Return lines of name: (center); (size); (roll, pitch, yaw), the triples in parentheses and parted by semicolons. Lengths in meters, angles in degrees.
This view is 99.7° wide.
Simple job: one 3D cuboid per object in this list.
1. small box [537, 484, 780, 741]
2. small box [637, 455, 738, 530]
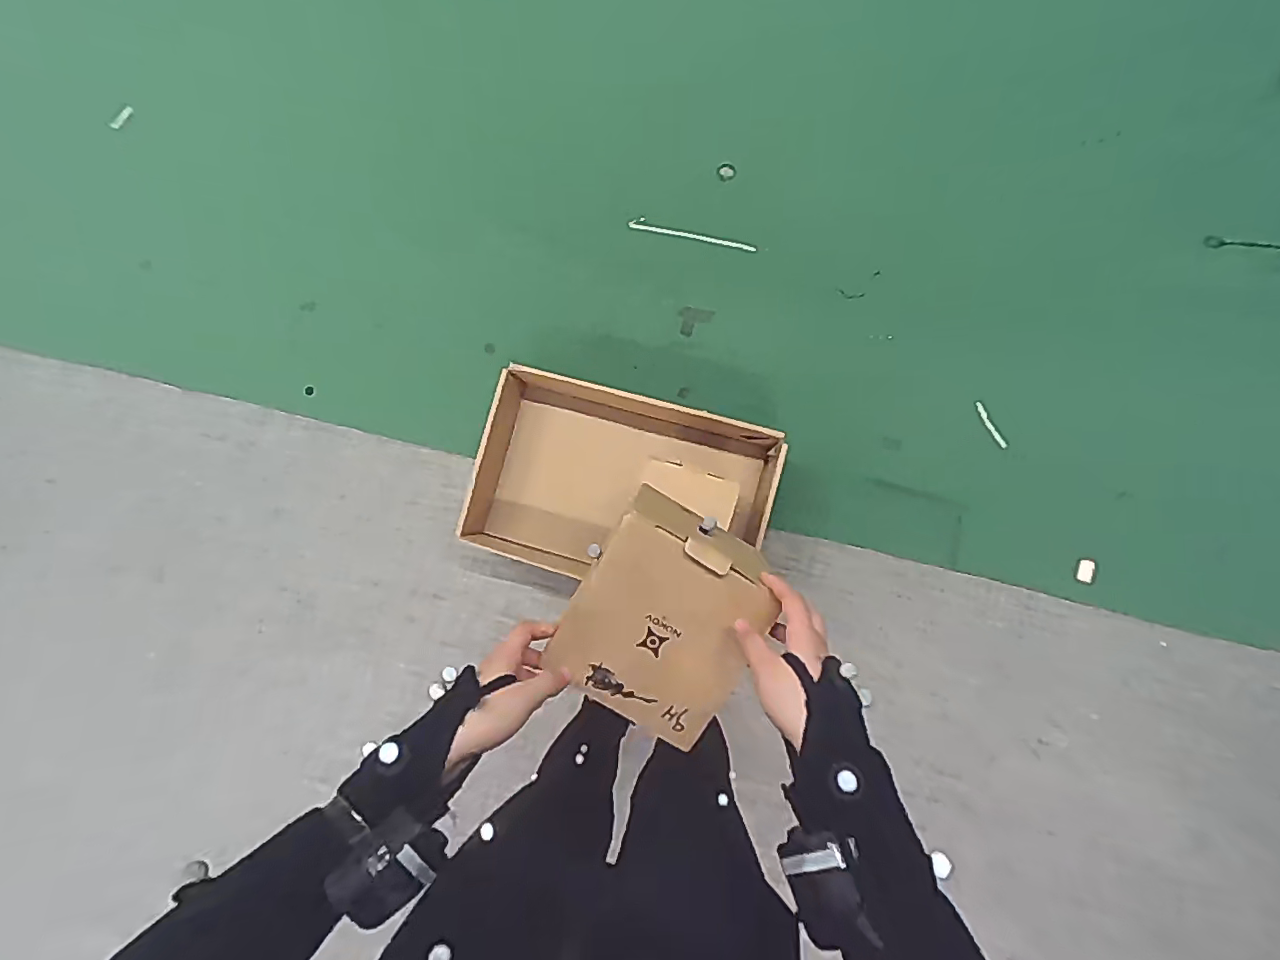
small box: (0.019, 0.120, 0.569); (0.168, 0.176, 0.179); (30, 99, 0)
small box: (0.068, 0.066, 0.978); (0.168, 0.176, 0.179); (17, 90, 7)
